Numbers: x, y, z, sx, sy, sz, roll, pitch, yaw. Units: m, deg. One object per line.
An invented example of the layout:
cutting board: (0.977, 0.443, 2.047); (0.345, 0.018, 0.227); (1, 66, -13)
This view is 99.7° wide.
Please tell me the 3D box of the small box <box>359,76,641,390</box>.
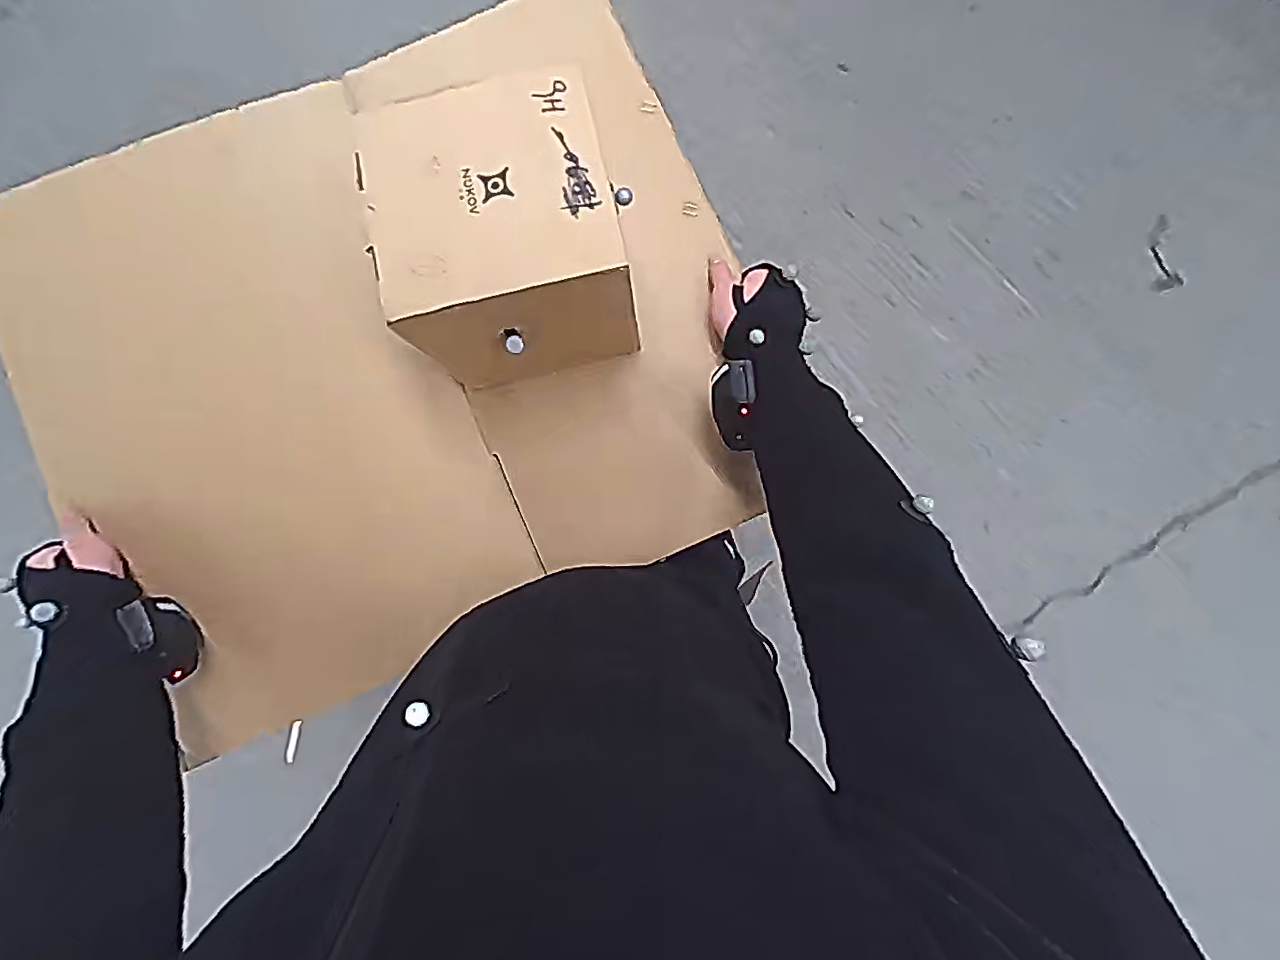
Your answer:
small box: (-0.105, -0.192, 0.474); (0.179, 0.176, 0.168); (-14, 83, 2)
